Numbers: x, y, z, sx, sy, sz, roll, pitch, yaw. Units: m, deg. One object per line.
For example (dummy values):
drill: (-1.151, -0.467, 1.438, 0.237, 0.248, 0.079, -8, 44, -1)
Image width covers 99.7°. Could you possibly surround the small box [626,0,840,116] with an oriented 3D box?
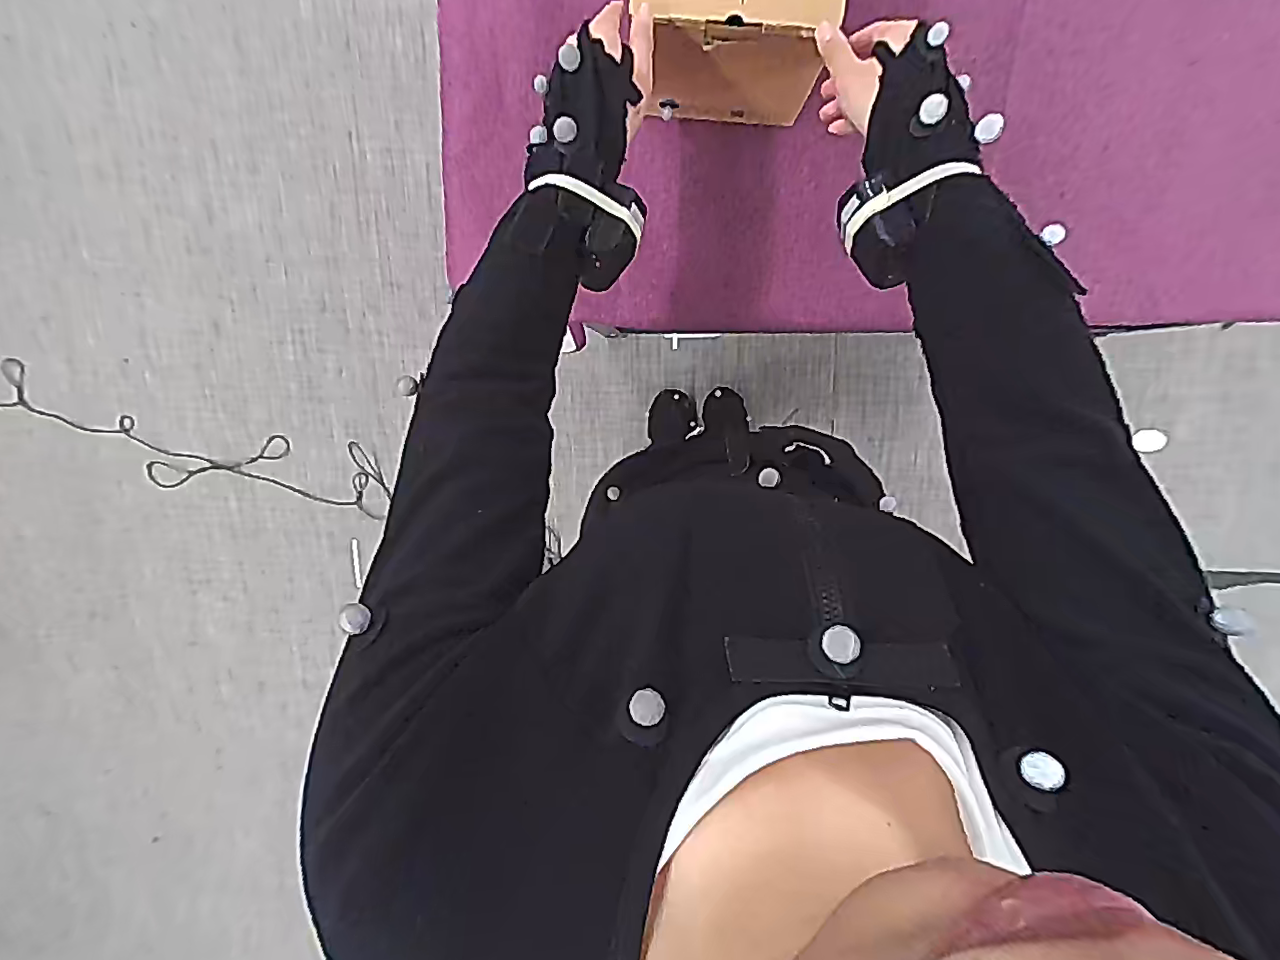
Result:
small box: (0.082, -0.453, 0.476, 0.168, 0.176, 0.179, 5, 101, 1)
